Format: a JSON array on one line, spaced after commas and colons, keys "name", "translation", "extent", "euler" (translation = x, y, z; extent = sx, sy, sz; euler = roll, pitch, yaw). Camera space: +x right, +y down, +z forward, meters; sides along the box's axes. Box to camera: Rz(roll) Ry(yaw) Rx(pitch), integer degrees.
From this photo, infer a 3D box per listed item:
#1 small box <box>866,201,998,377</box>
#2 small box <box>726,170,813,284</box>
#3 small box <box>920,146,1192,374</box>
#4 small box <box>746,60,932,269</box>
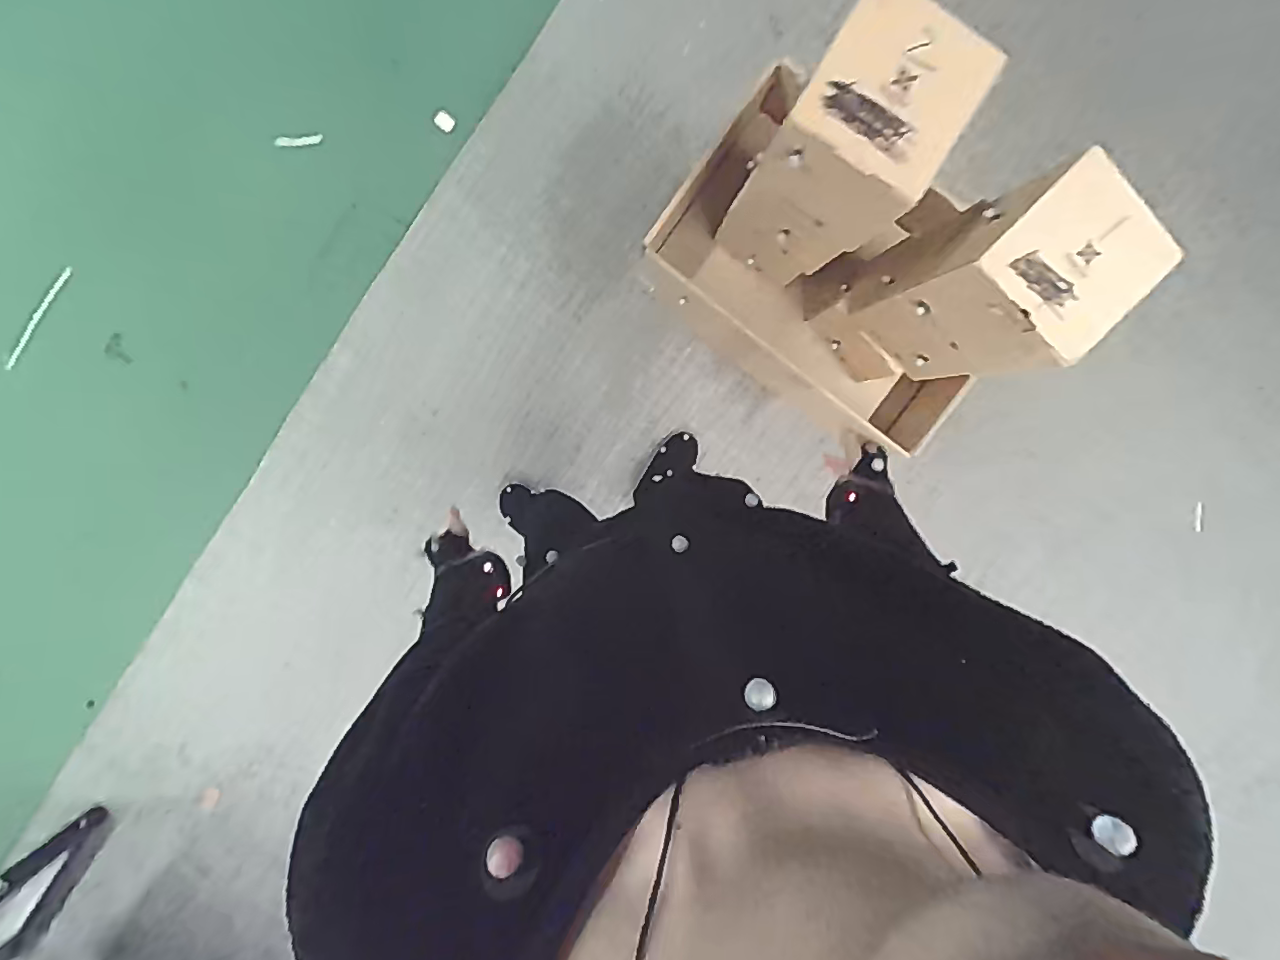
[{"name": "small box", "translation": [0.477, -0.274, 0.826], "extent": [0.168, 0.176, 0.179], "euler": [42, 94, -6]}, {"name": "small box", "translation": [0.271, -0.481, 0.958], "extent": [0.168, 0.176, 0.179], "euler": [33, 95, -5]}, {"name": "small box", "translation": [0.482, -0.248, 0.664], "extent": [0.179, 0.176, 0.168], "euler": [-45, 97, 4]}, {"name": "small box", "translation": [0.274, -0.443, 0.797], "extent": [0.168, 0.176, 0.179], "euler": [33, 96, -6]}]
